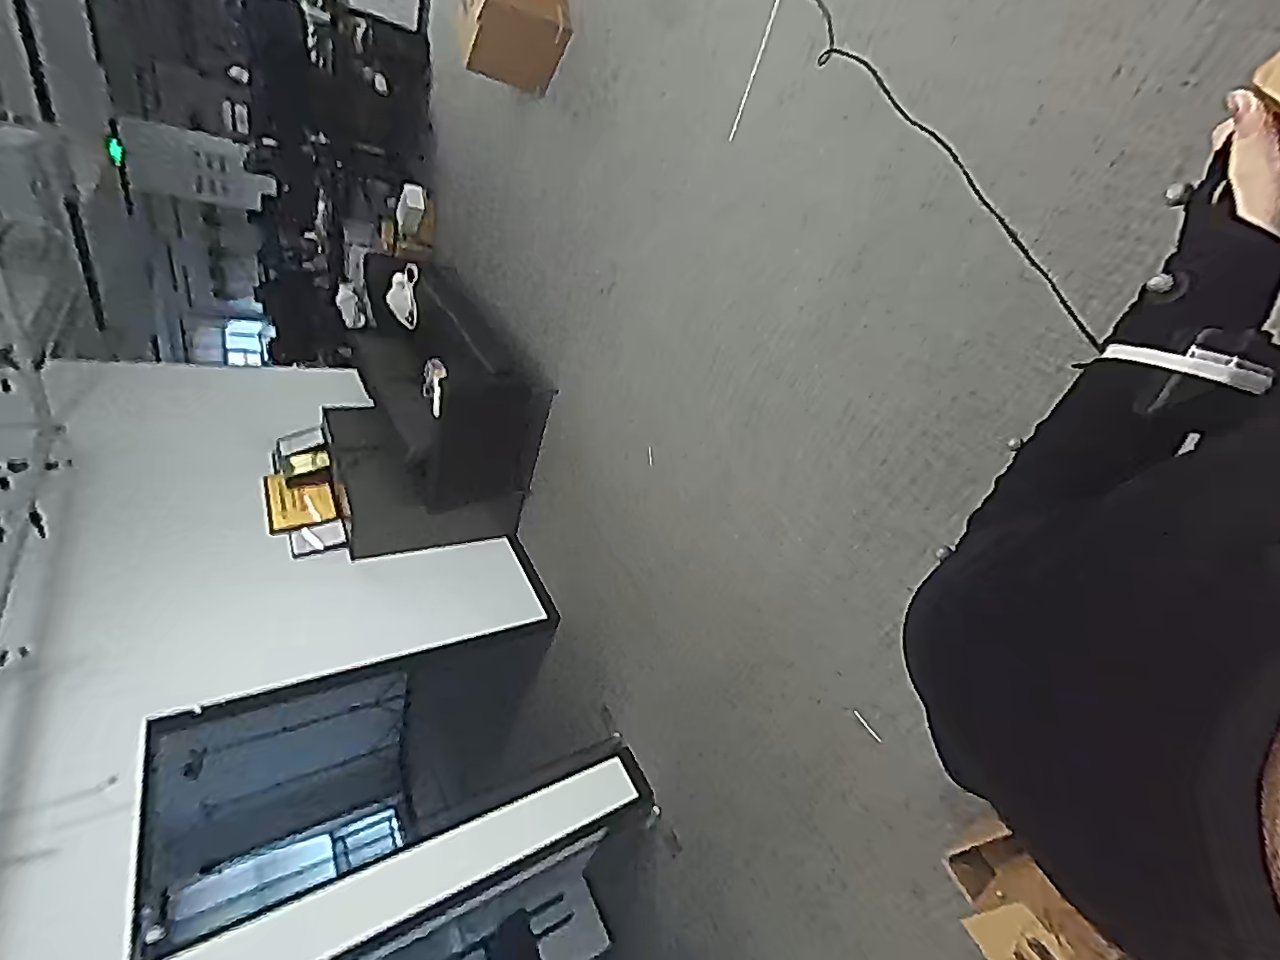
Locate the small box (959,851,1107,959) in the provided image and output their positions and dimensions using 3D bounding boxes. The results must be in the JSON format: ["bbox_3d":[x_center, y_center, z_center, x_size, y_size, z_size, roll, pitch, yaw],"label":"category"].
[{"bbox_3d":[0.829,0.924,1.137,0.168,0.176,0.179,55,136,32],"label":"small box"}]
